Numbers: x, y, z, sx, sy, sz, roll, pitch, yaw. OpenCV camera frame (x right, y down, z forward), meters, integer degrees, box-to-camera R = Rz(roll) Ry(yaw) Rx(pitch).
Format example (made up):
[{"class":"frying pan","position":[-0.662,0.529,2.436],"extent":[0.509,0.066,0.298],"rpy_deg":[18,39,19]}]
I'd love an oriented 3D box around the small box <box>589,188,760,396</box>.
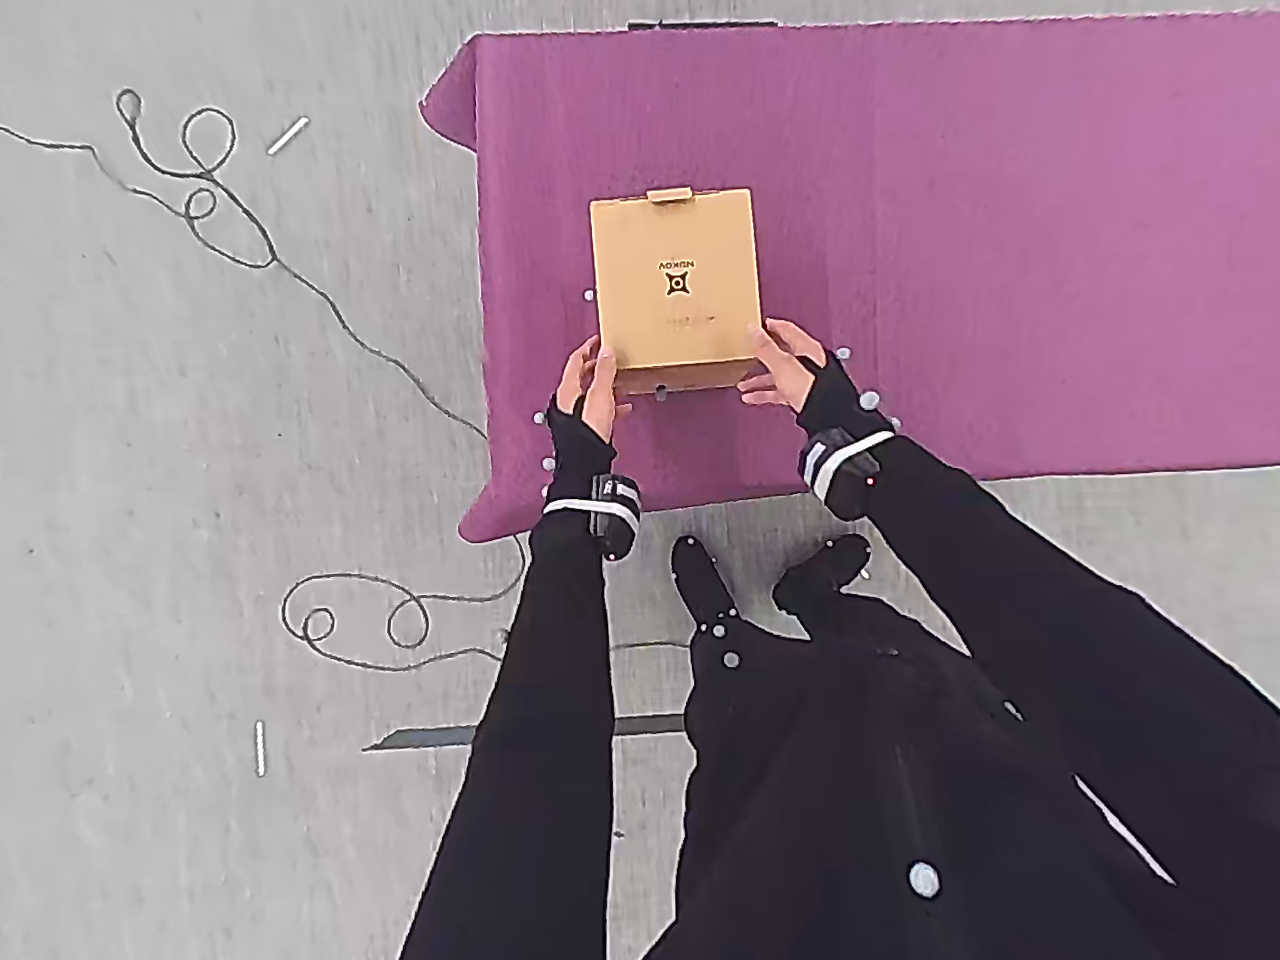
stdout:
[{"class":"small box","position":[0.032,-0.201,0.619],"extent":[0.168,0.176,0.179],"rpy_deg":[-4,90,-1]}]
